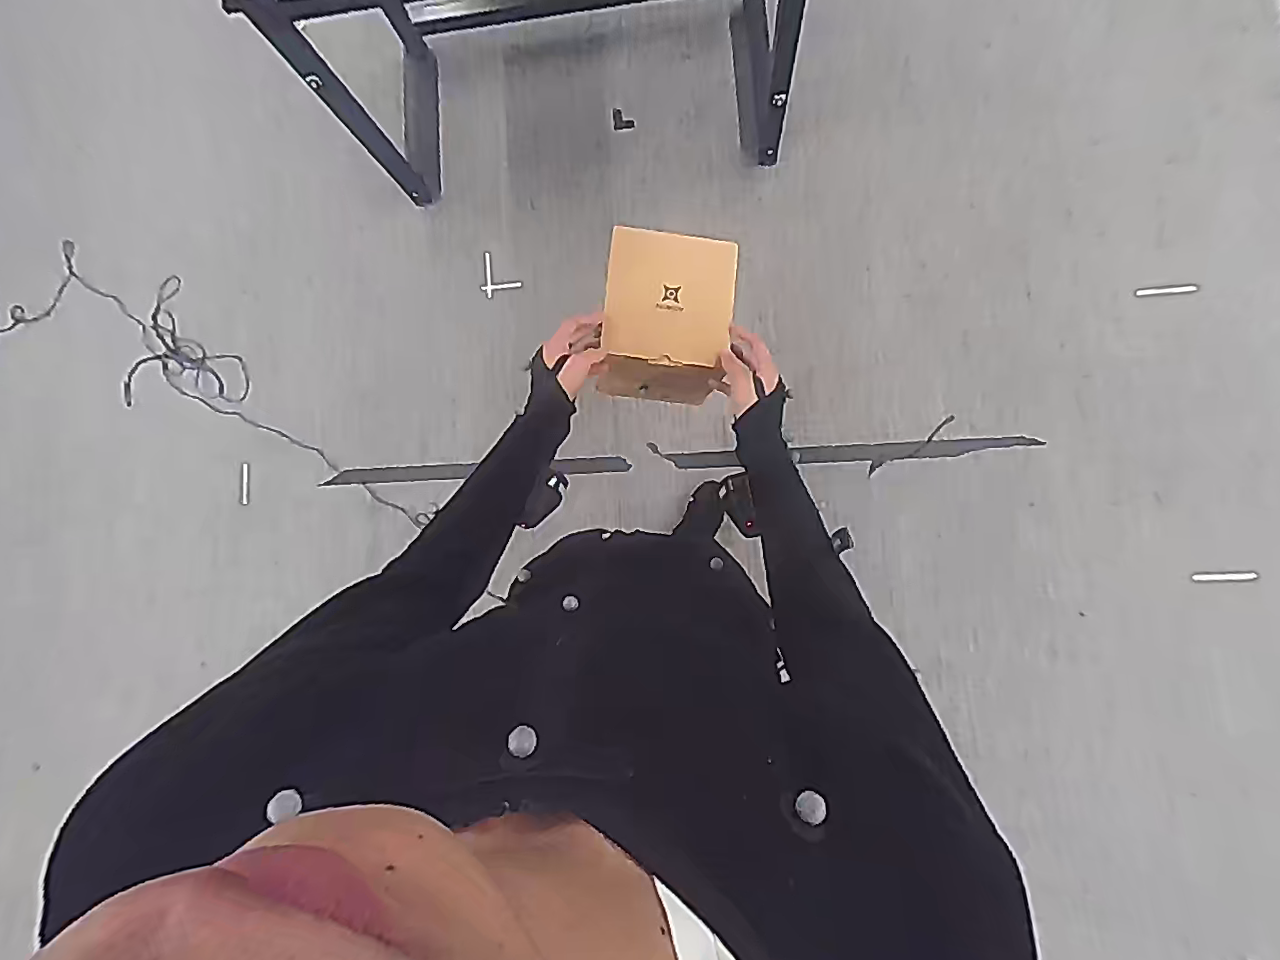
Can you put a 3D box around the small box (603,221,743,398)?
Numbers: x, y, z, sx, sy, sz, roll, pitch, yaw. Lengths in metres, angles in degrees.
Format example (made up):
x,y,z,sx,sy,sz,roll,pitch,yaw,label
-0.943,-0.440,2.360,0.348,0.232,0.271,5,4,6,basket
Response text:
x,y,z,sx,sy,sz,roll,pitch,yaw,label
0.038,-0.227,0.761,0.168,0.176,0.179,5,85,-5,small box
